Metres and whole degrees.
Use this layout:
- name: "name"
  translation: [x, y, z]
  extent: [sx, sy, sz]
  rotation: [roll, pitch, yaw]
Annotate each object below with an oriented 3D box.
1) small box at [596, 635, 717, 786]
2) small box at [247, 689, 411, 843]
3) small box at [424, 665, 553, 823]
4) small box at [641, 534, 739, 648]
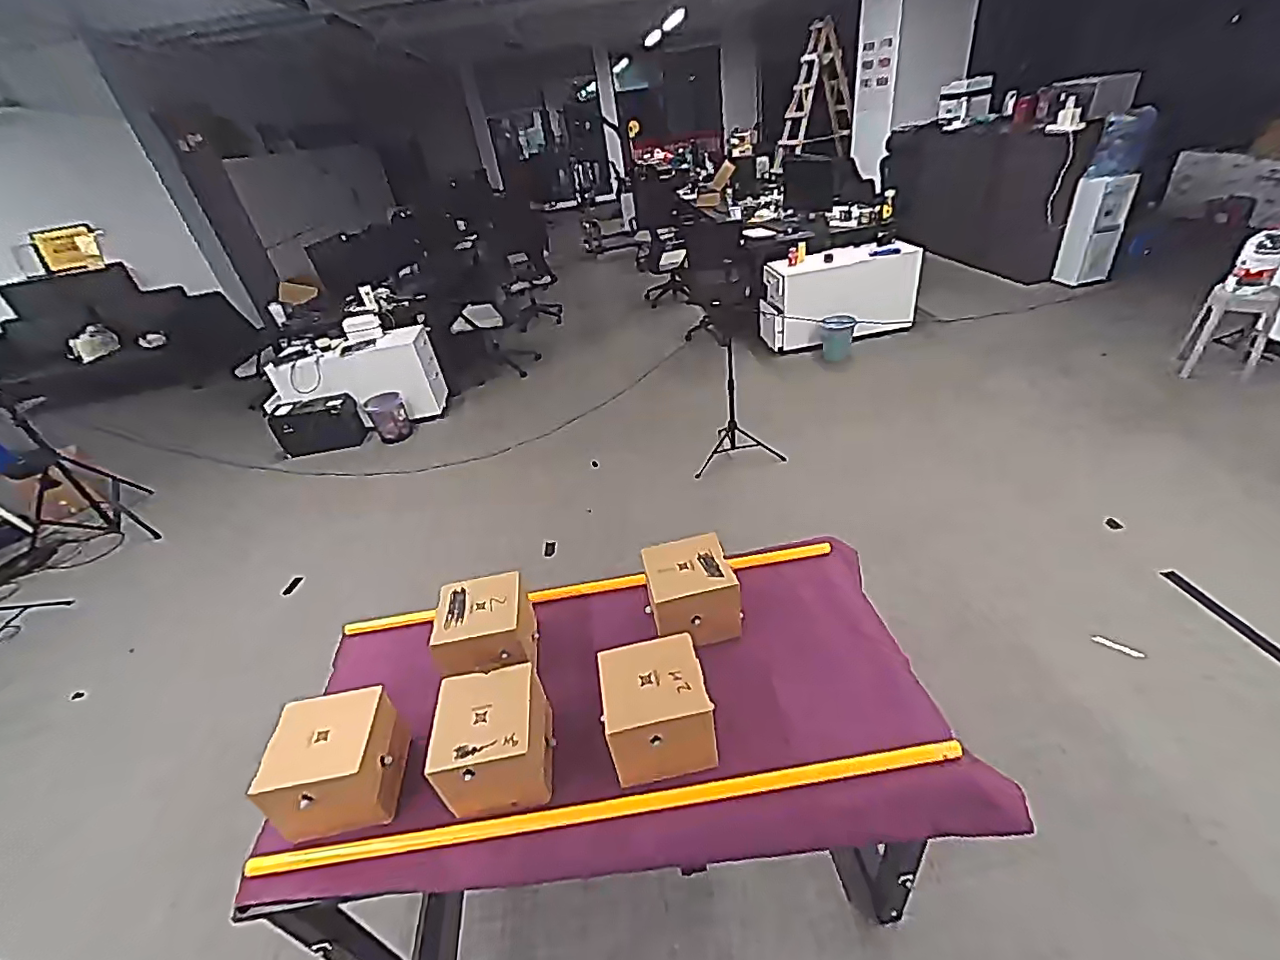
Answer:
- name: "small box"
  translation: [0.028, 0.408, 0.955]
  extent: [0.179, 0.176, 0.168]
  rotation: [-11, 33, -2]
- name: "small box"
  translation: [-0.530, 0.505, 0.956]
  extent: [0.179, 0.176, 0.168]
  rotation: [-11, 34, -3]
- name: "small box"
  translation: [-0.254, 0.461, 0.951]
  extent: [0.168, 0.176, 0.179]
  rotation: [-11, 34, -1]
- name: "small box"
  translation: [0.109, 0.246, 1.171]
  extent: [0.179, 0.176, 0.168]
  rotation: [-13, 35, -3]
